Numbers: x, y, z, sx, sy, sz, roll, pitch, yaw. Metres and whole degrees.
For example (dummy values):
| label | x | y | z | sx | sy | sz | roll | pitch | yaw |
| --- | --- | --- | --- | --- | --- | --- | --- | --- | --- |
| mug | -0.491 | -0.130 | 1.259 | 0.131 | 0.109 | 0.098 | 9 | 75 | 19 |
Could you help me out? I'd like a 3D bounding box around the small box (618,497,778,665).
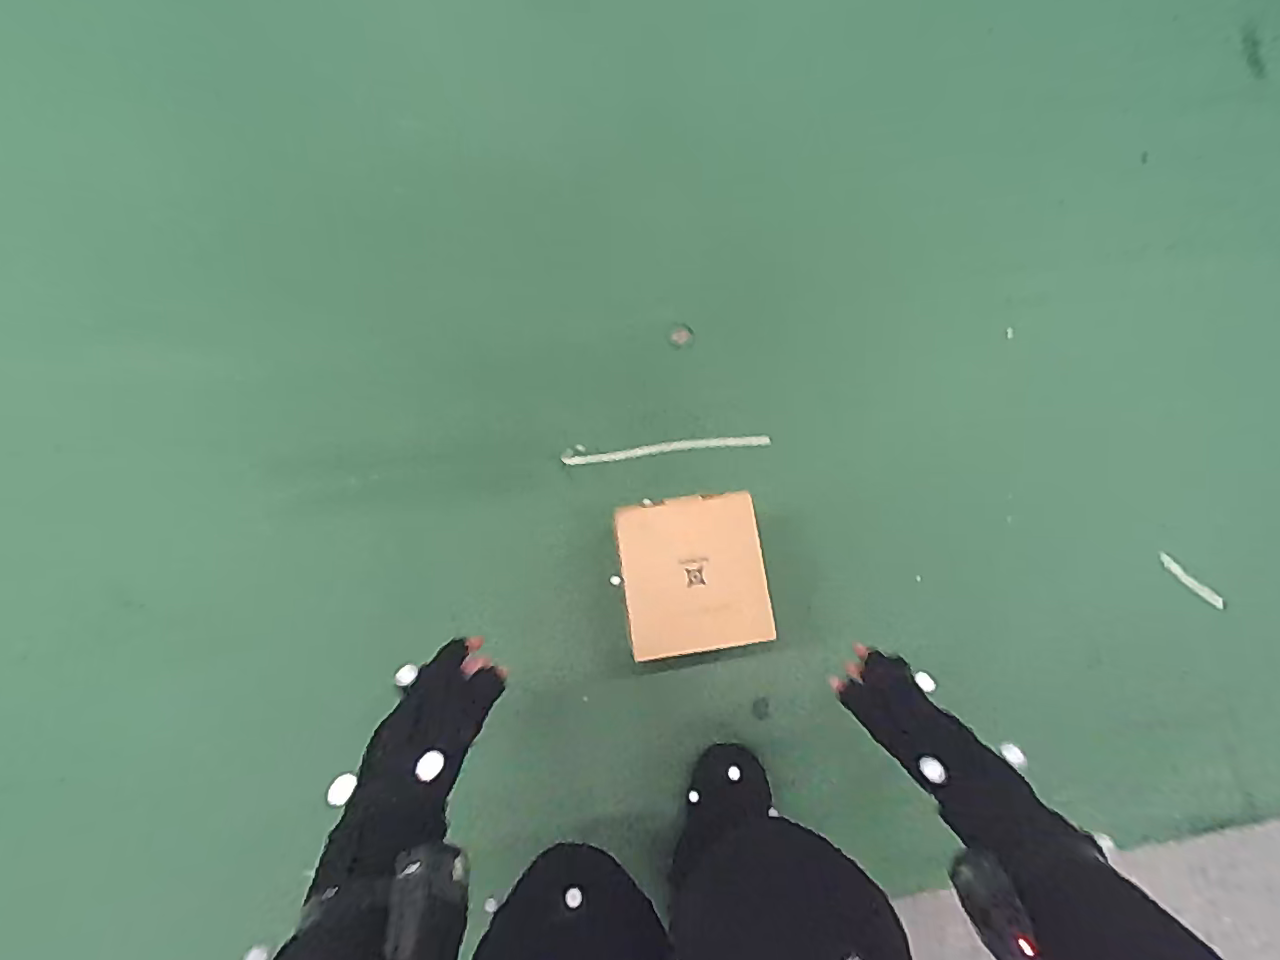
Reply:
| label | x | y | z | sx | sy | sz | roll | pitch | yaw |
| --- | --- | --- | --- | --- | --- | --- | --- | --- | --- |
| small box | 0.060 | 0.127 | 0.685 | 0.168 | 0.176 | 0.179 | -6 | 79 | -3 |
